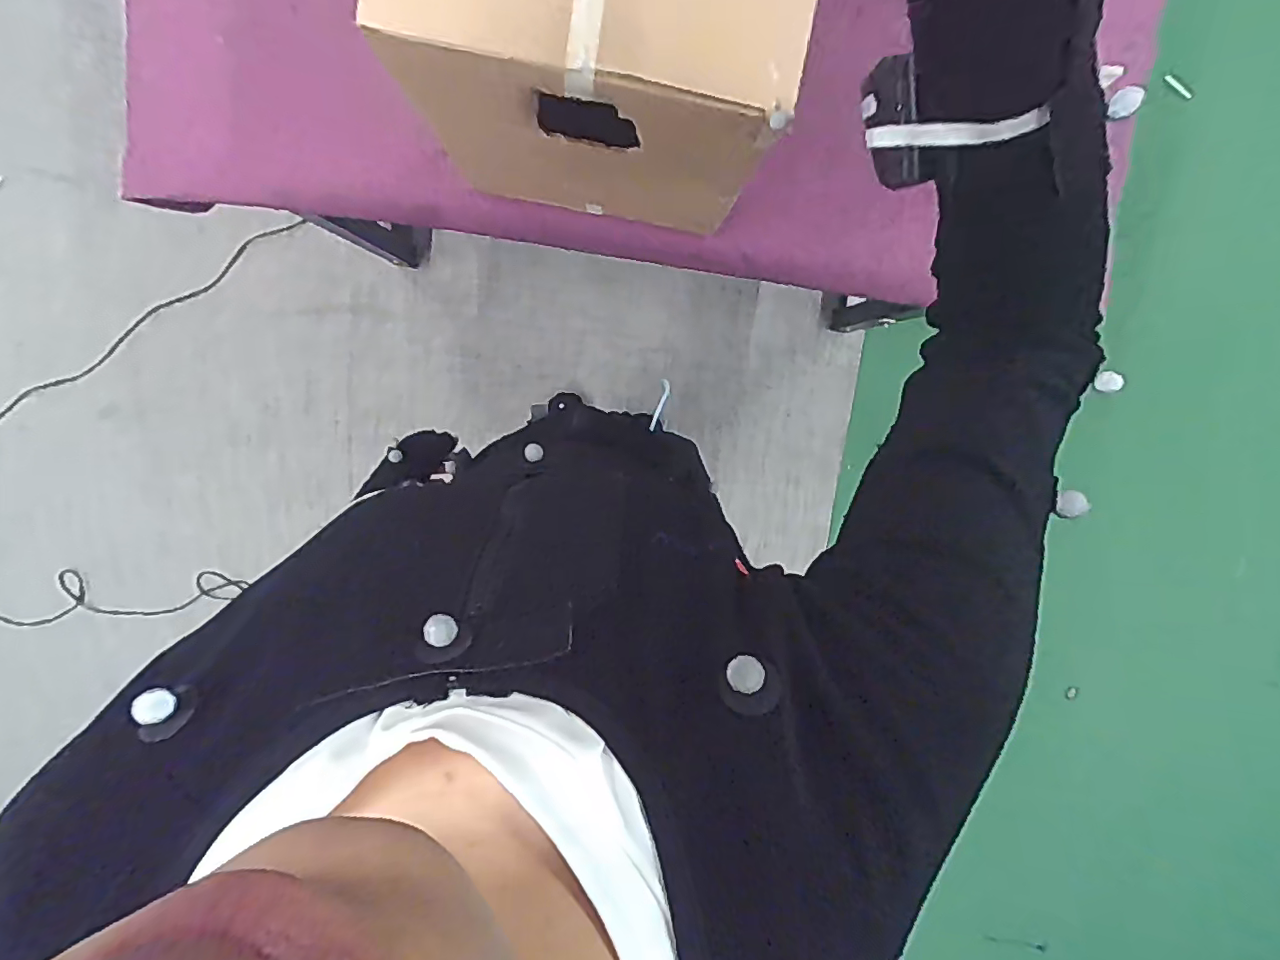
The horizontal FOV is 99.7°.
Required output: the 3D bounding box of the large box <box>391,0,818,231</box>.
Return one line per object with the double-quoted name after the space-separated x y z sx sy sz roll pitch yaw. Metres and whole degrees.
-0.008 -0.513 0.515 0.320 0.320 0.408 10 100 -4 "large box"
